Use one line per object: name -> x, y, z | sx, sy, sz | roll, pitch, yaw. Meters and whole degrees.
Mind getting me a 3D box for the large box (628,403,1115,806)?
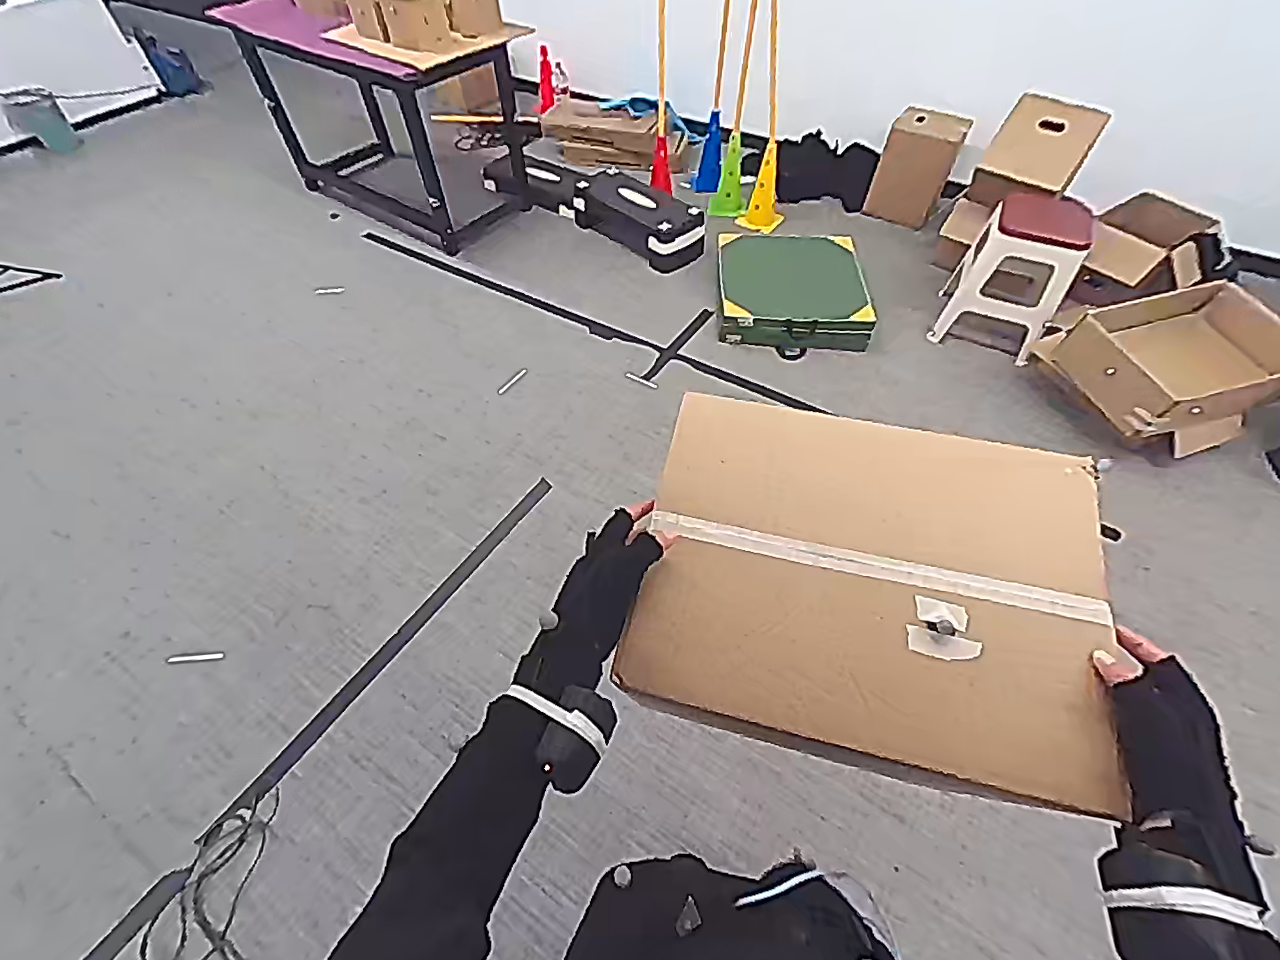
large box -> 0.223, 0.147, 0.644 | 0.408, 0.320, 0.320 | 12, 67, 10
